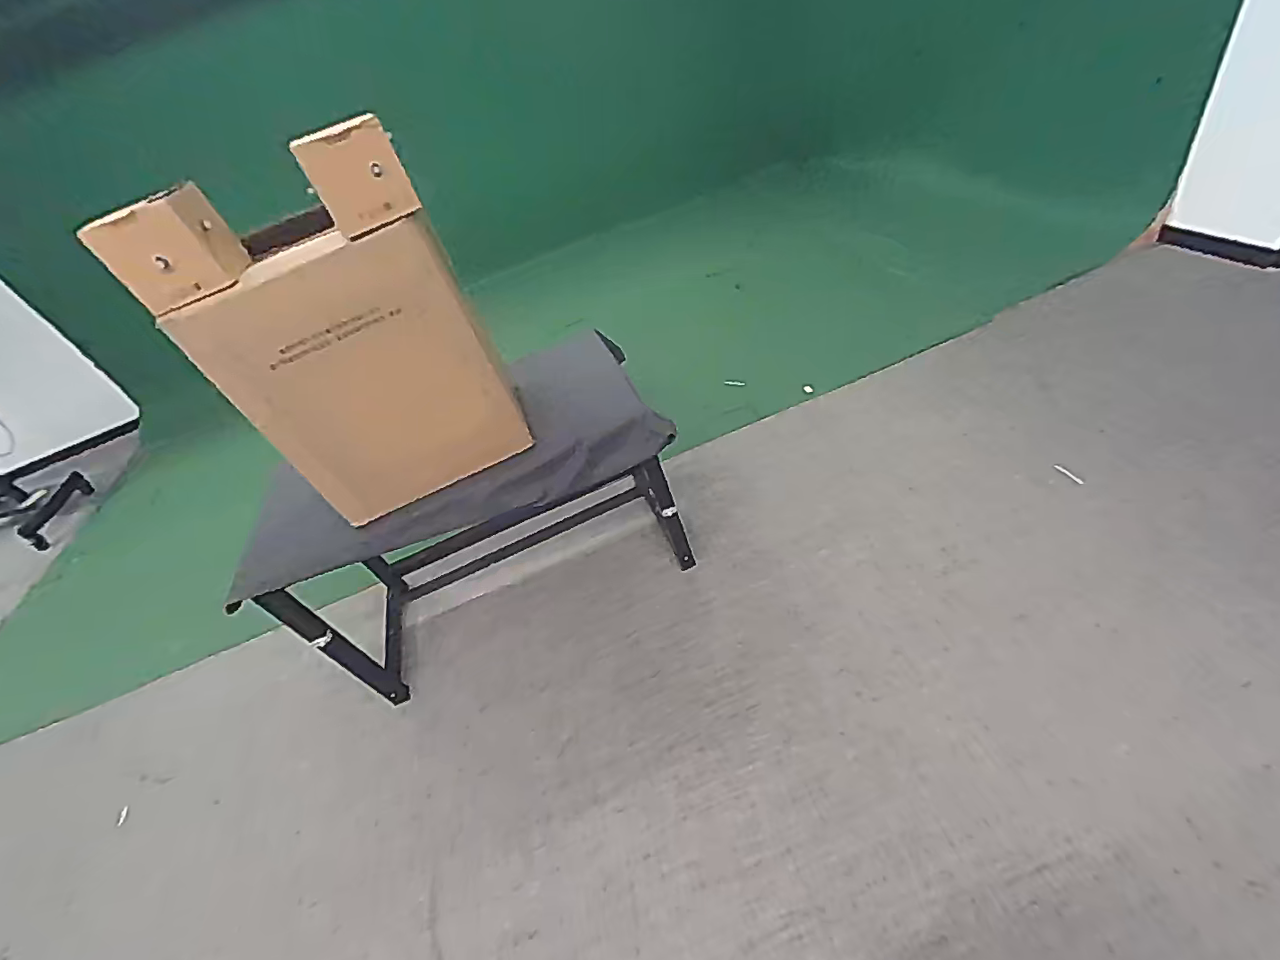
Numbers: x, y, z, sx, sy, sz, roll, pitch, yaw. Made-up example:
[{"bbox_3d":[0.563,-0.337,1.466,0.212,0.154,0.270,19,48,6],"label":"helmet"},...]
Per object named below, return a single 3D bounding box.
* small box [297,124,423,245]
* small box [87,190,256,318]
[{"bbox_3d":[-0.563,-0.599,1.100,0.168,0.176,0.179,-28,40,-12],"label":"small box"},{"bbox_3d":[-0.916,-0.447,1.082,0.168,0.176,0.179,-25,41,-3],"label":"small box"}]
